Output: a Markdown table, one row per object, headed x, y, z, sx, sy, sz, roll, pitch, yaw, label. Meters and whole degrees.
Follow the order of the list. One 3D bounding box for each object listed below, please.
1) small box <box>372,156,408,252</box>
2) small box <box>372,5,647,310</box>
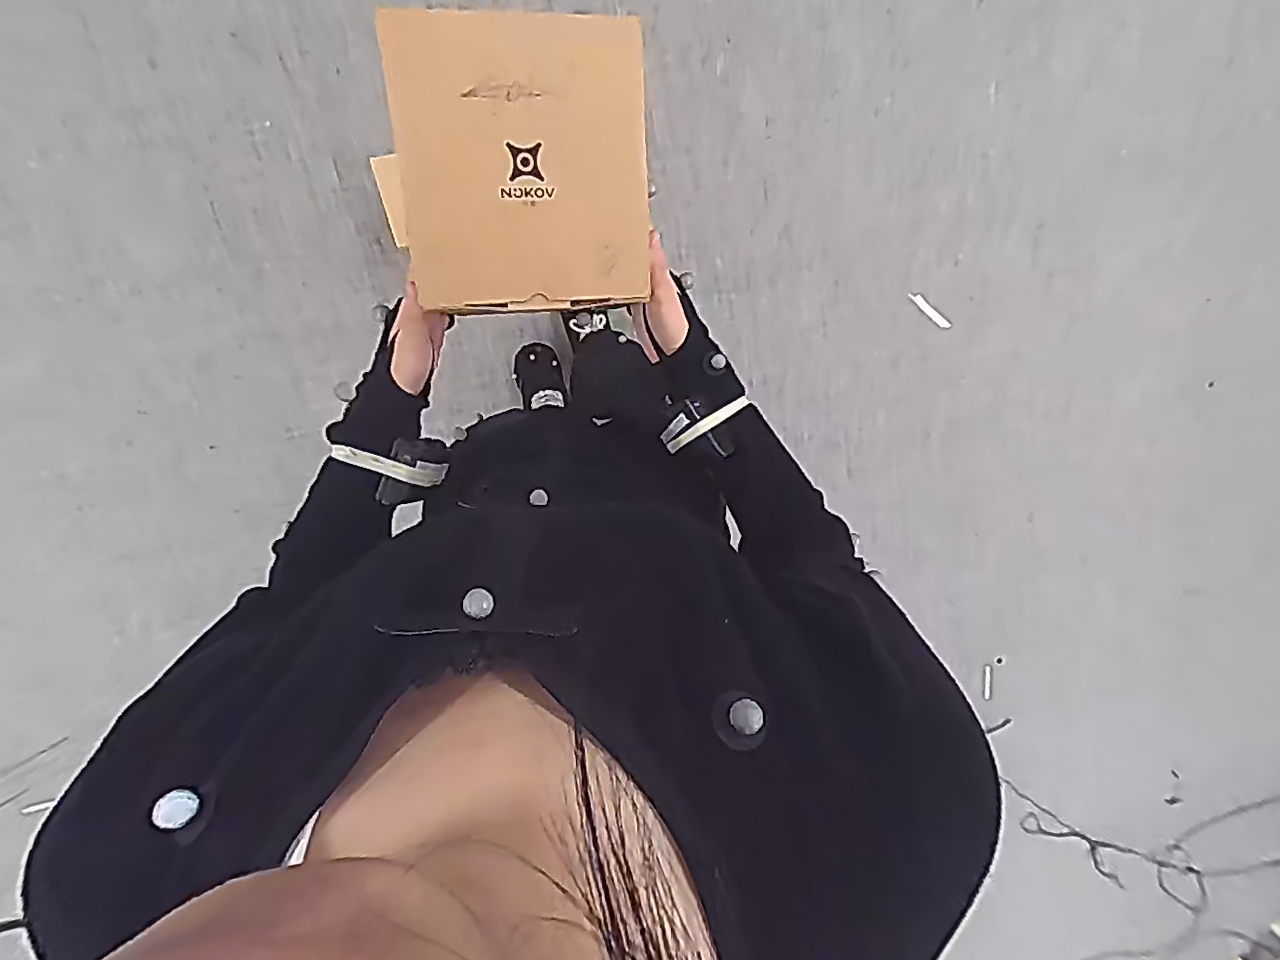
| x | y | z | sx | sy | sz | roll | pitch | yaw | label |
| --- | --- | --- | --- | --- | --- | --- | --- | --- | --- |
| -0.460 | -0.607 | 1.200 | 0.168 | 0.176 | 0.179 | -14 | 107 | -5 | small box |
| -0.091 | -0.231 | 0.436 | 0.168 | 0.176 | 0.179 | -6 | 106 | -9 | small box |
